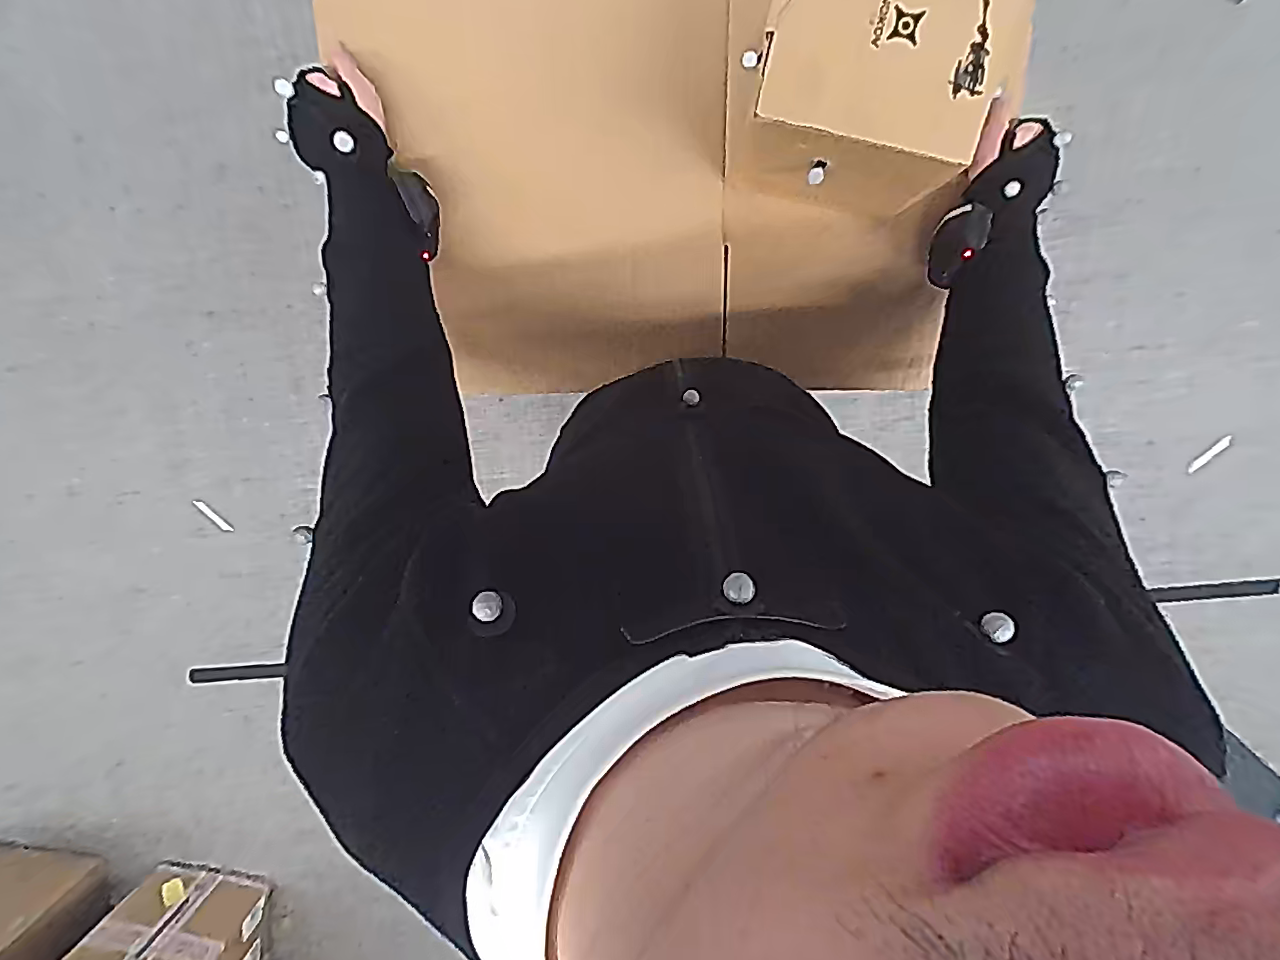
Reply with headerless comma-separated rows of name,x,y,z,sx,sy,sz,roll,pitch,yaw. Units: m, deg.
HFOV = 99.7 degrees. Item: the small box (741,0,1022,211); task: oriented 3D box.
small box,0.199,-0.363,0.487,0.179,0.176,0.168,13,103,1
